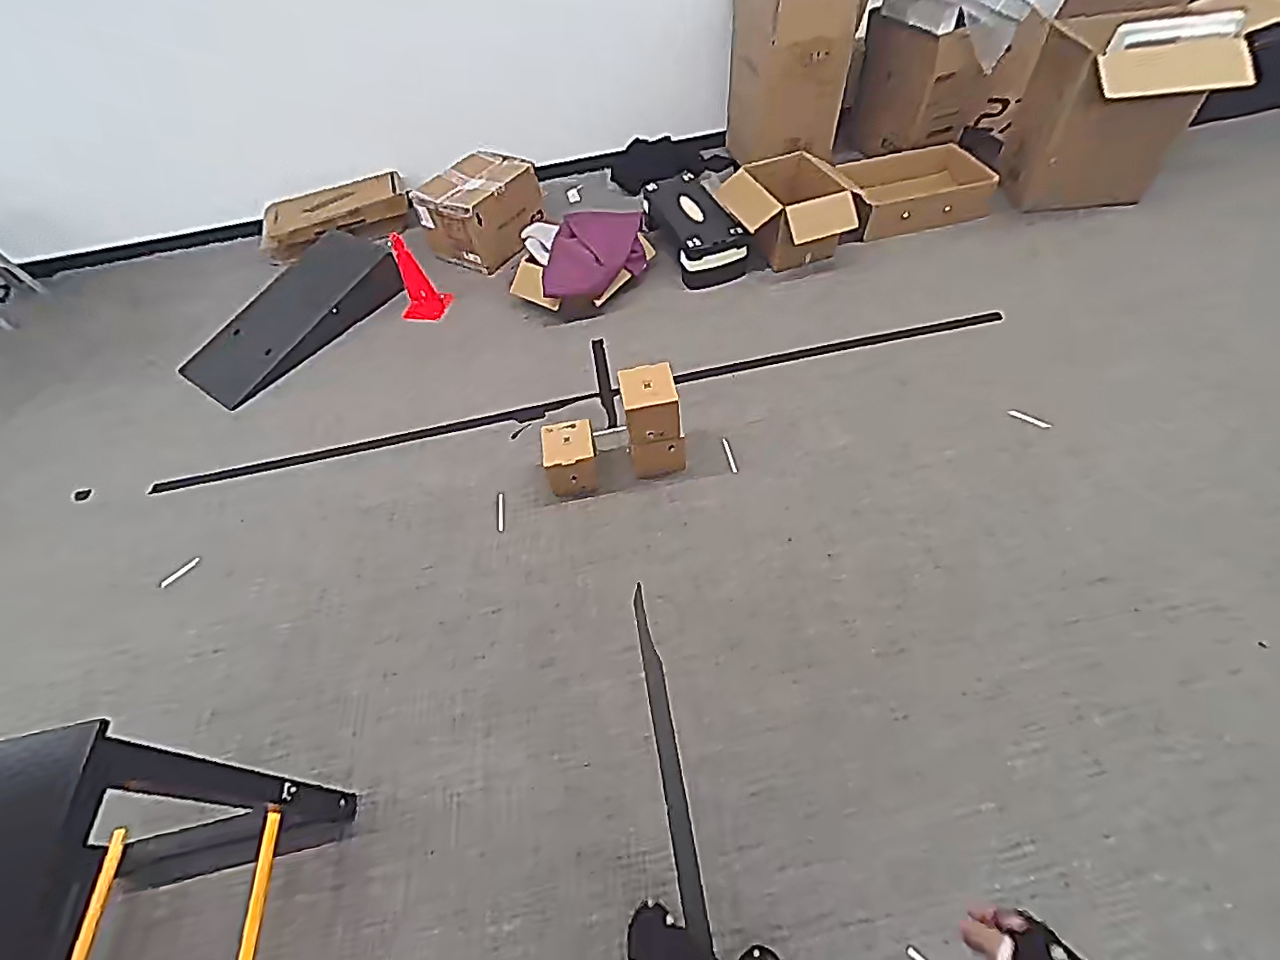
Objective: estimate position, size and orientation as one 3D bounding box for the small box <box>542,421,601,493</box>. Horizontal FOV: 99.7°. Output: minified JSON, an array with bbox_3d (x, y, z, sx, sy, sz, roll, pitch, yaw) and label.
[{"bbox_3d":[-0.230,-0.069,1.823,0.168,0.176,0.179,-10,54,0],"label":"small box"}]

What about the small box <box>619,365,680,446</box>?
[{"bbox_3d":[0.031,-0.233,1.711,0.168,0.176,0.179,-11,54,-1],"label":"small box"}]

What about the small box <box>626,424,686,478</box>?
[{"bbox_3d":[0.052,-0.128,1.834,0.179,0.176,0.168,-12,53,-2],"label":"small box"}]
